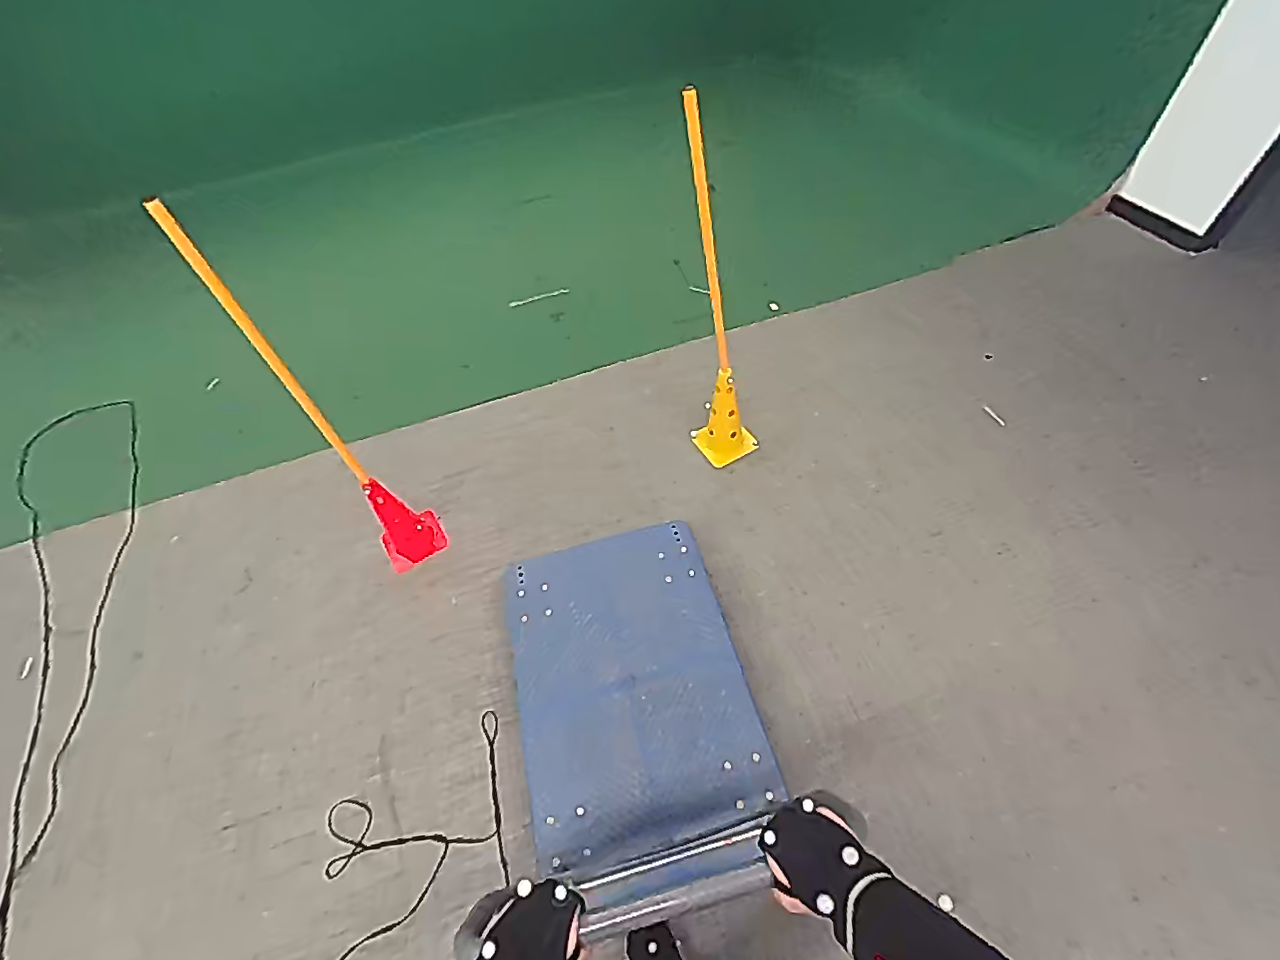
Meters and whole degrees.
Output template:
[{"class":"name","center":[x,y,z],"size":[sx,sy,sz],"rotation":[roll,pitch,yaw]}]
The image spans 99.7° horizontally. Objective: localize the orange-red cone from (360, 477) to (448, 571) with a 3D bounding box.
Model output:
[{"class":"orange-red cone","center":[-0.817,0.112,1.789],"size":[0.199,0.360,0.198],"rotation":[-31,55,-14]}]
